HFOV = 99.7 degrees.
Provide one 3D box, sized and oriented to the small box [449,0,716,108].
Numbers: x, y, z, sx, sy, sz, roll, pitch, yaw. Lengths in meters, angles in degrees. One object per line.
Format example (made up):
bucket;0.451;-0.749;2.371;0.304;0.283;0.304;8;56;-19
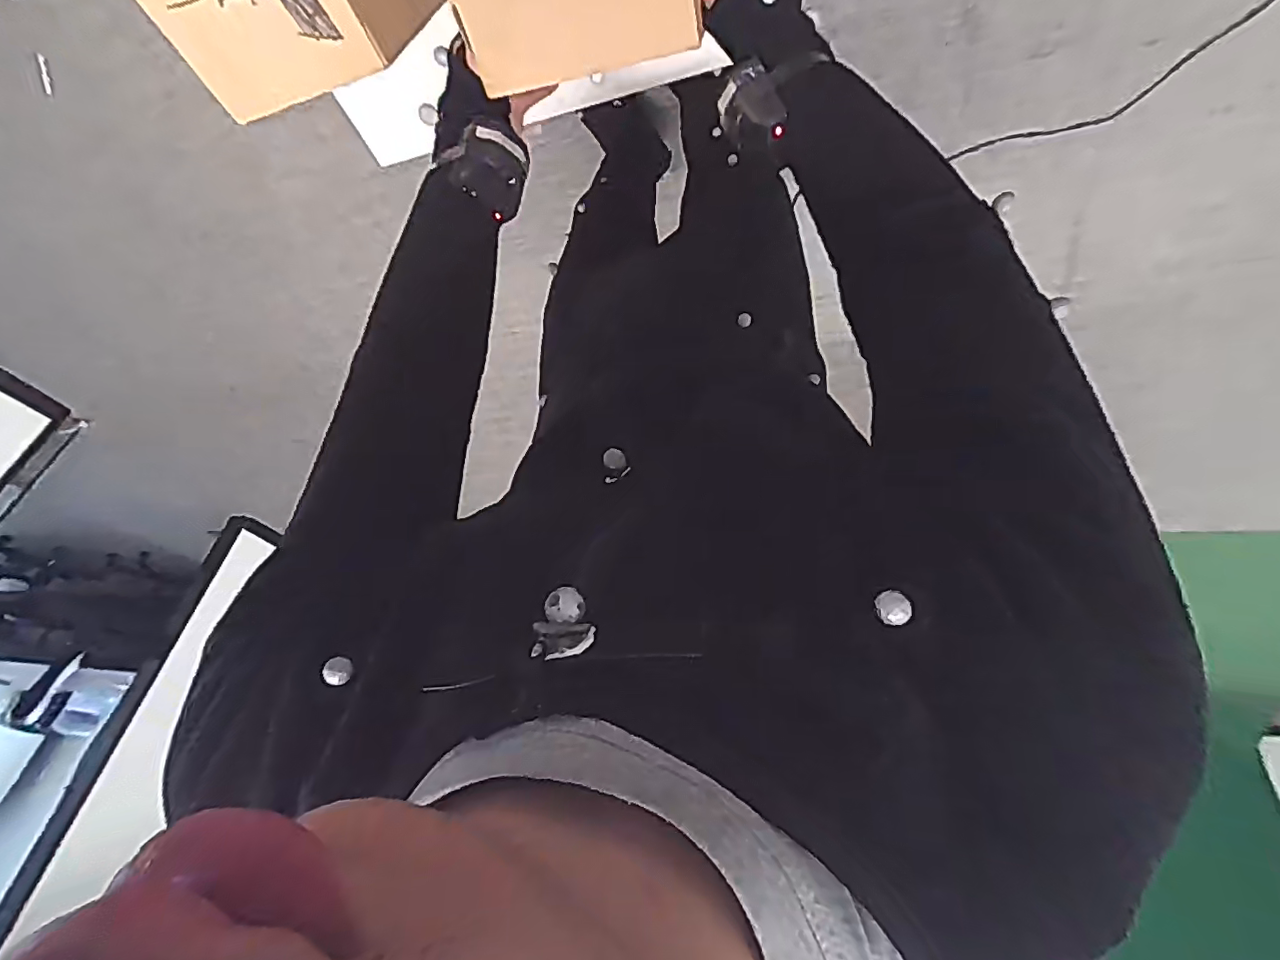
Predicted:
small box;-0.042;-0.413;0.404;0.179;0.176;0.168;0;140;18
